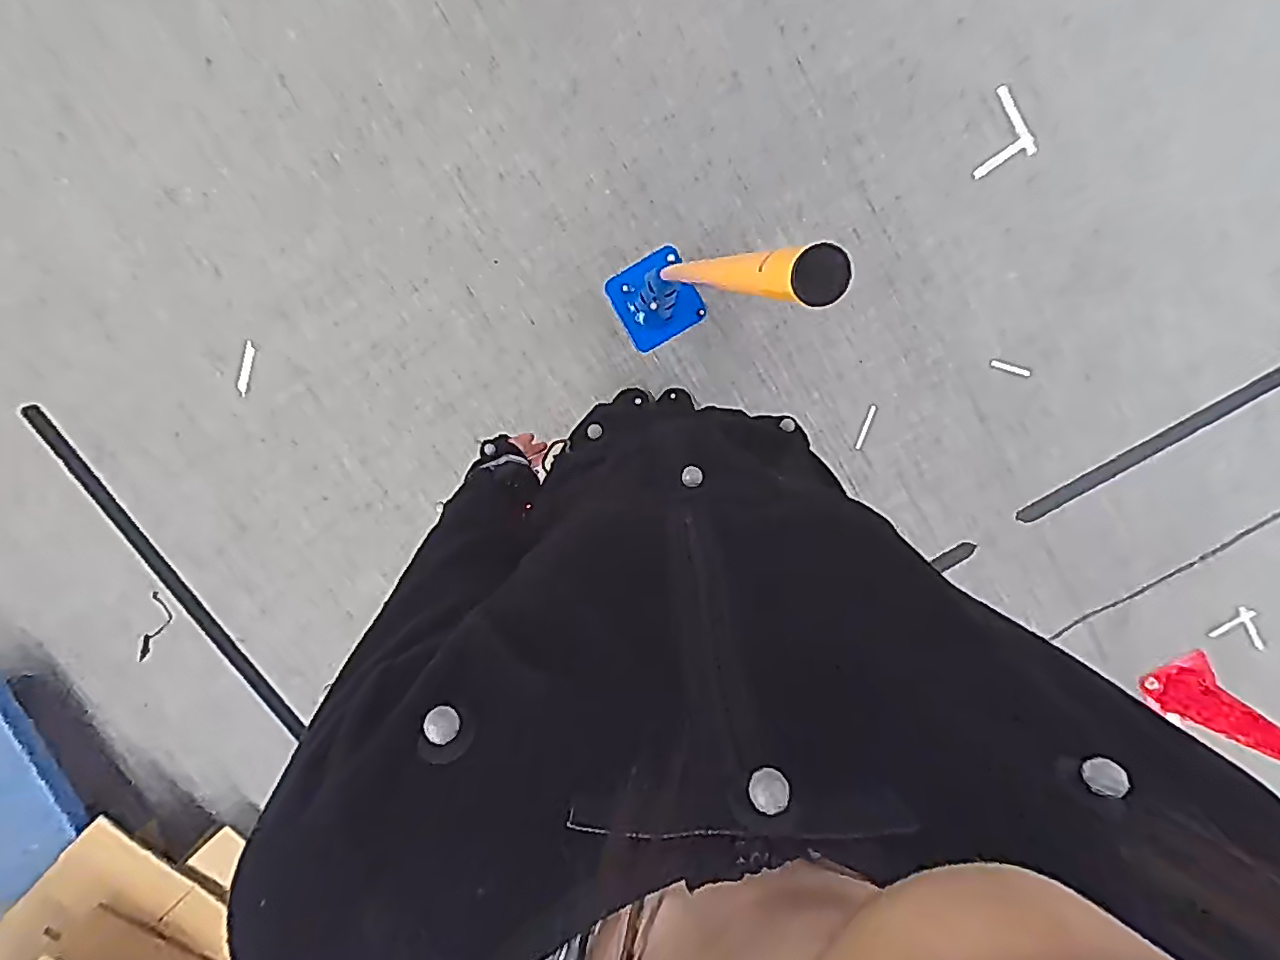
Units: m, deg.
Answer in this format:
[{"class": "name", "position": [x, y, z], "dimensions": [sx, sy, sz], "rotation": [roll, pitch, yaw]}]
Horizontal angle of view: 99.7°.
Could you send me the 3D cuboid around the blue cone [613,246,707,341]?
[{"class": "blue cone", "position": [0.052, -0.427, 1.176], "dimensions": [0.192, 0.380, 0.193], "rotation": [-28, 100, 3]}]
